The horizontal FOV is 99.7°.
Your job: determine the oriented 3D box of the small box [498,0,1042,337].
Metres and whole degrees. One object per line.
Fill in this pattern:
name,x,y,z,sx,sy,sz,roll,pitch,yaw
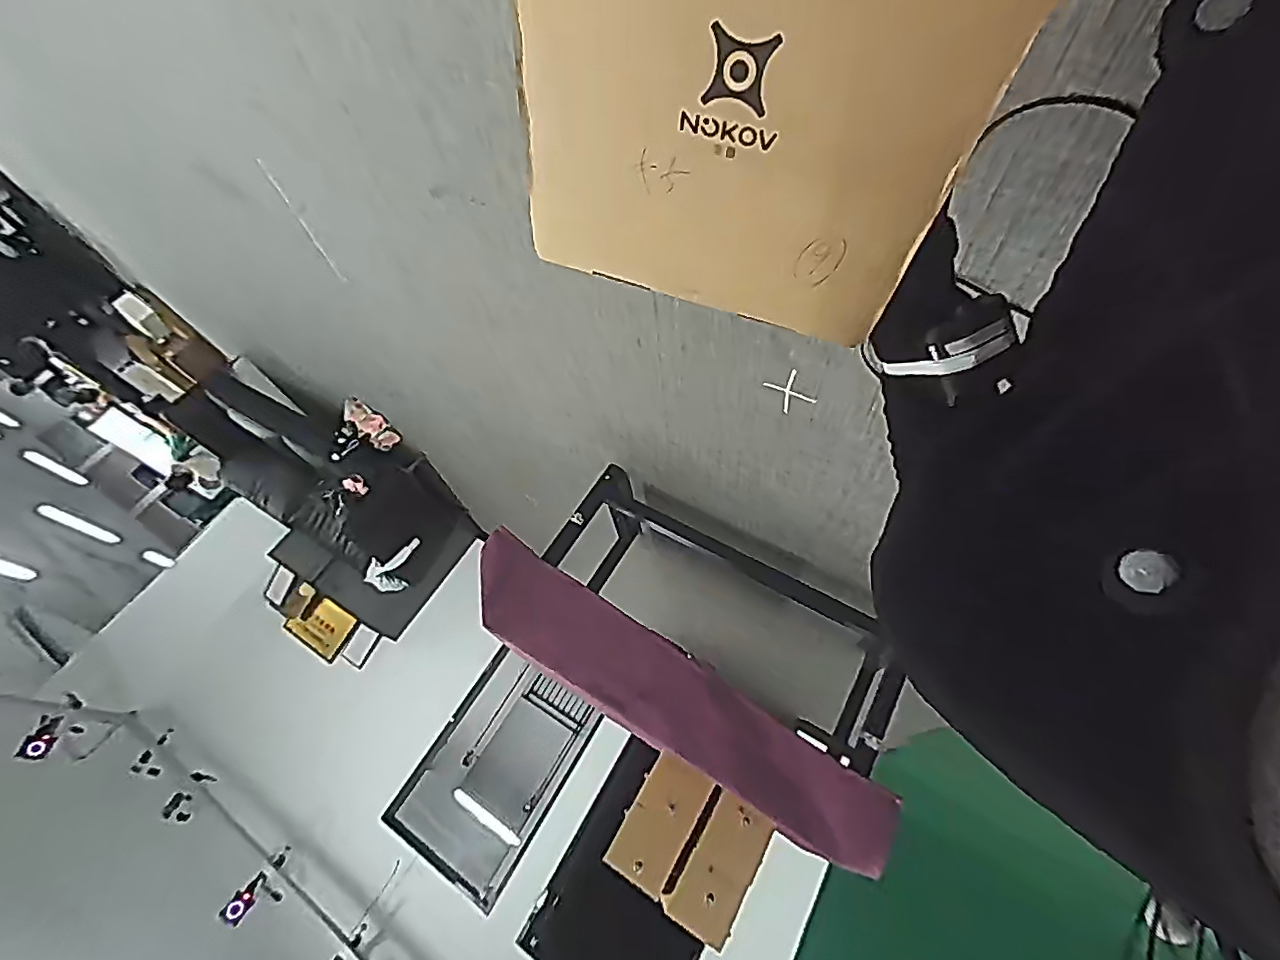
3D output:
small box,0.053,-0.199,0.227,0.168,0.176,0.179,18,147,5
